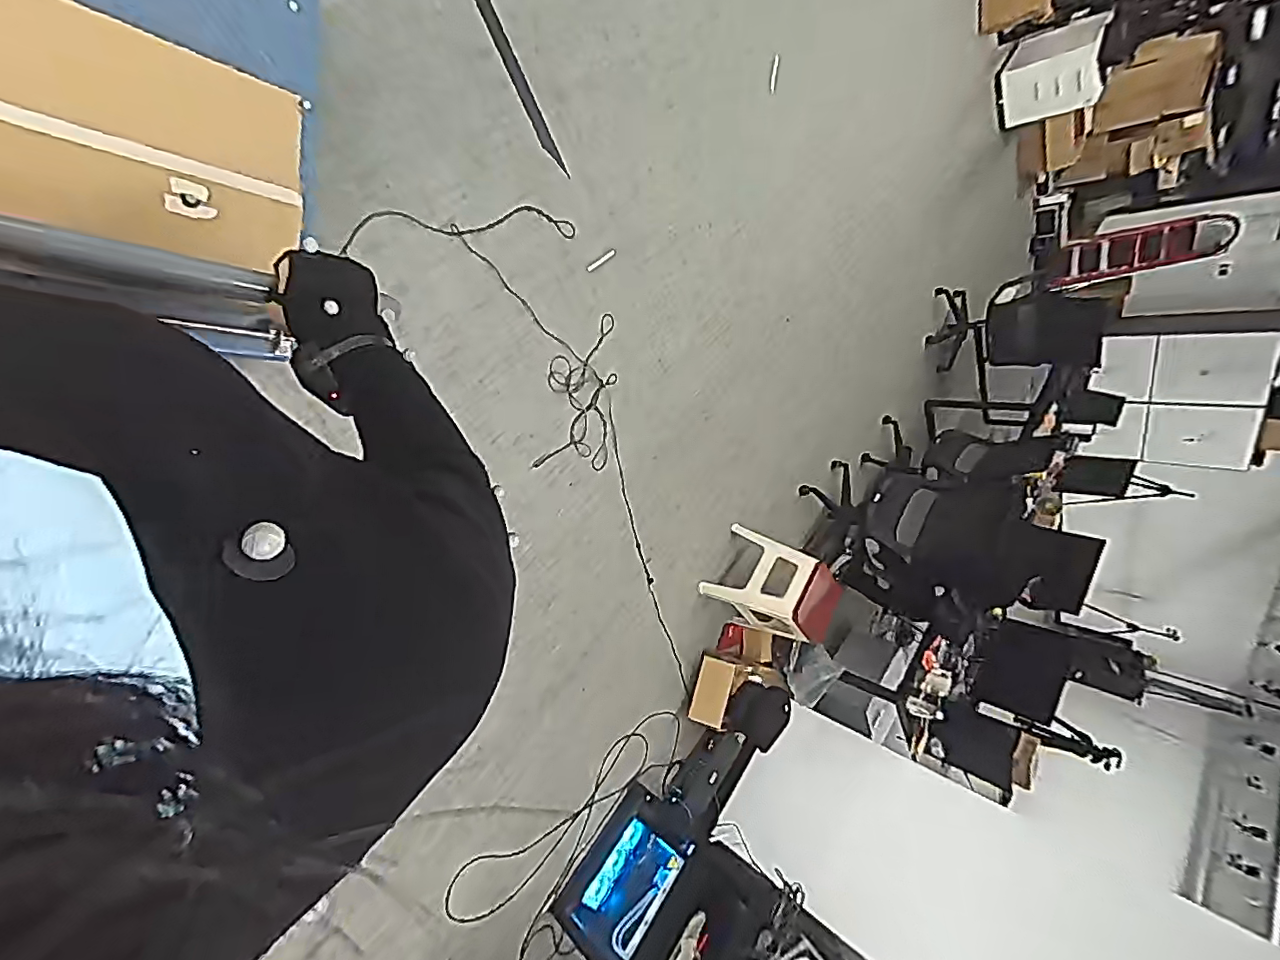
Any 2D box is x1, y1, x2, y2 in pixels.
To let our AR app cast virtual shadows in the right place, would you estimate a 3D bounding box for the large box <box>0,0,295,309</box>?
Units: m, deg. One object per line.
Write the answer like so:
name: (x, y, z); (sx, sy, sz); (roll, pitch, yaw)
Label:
large box: (-0.802, -0.466, 0.829); (0.408, 0.320, 0.320); (-1, 100, -45)
